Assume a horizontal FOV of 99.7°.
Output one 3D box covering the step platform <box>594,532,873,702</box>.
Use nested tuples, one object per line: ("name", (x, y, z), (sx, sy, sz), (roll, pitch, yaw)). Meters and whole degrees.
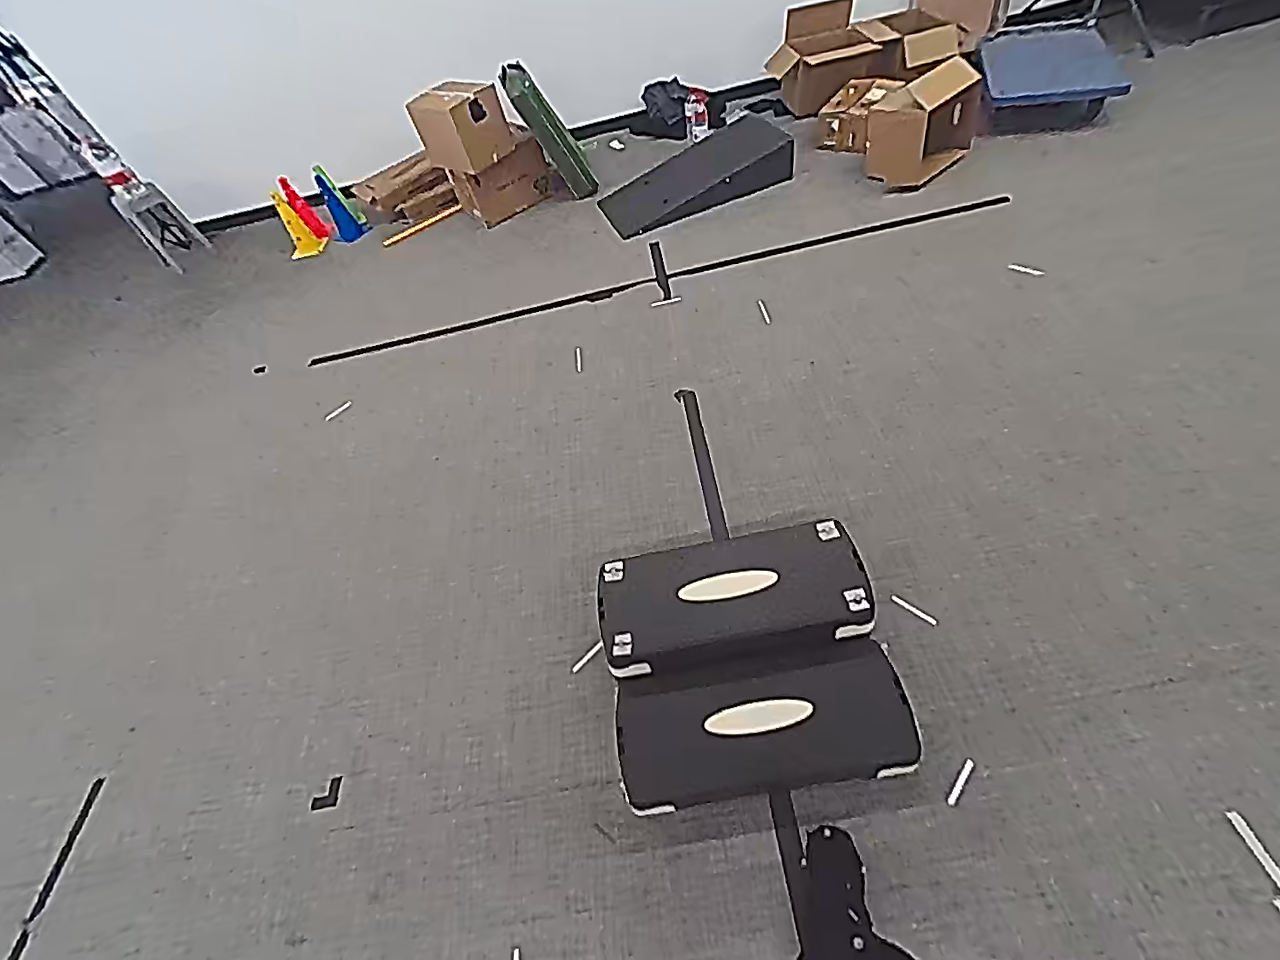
("step platform", (0.224, 0.349, 1.393), (0.684, 0.204, 0.286), (-12, 52, 3))
